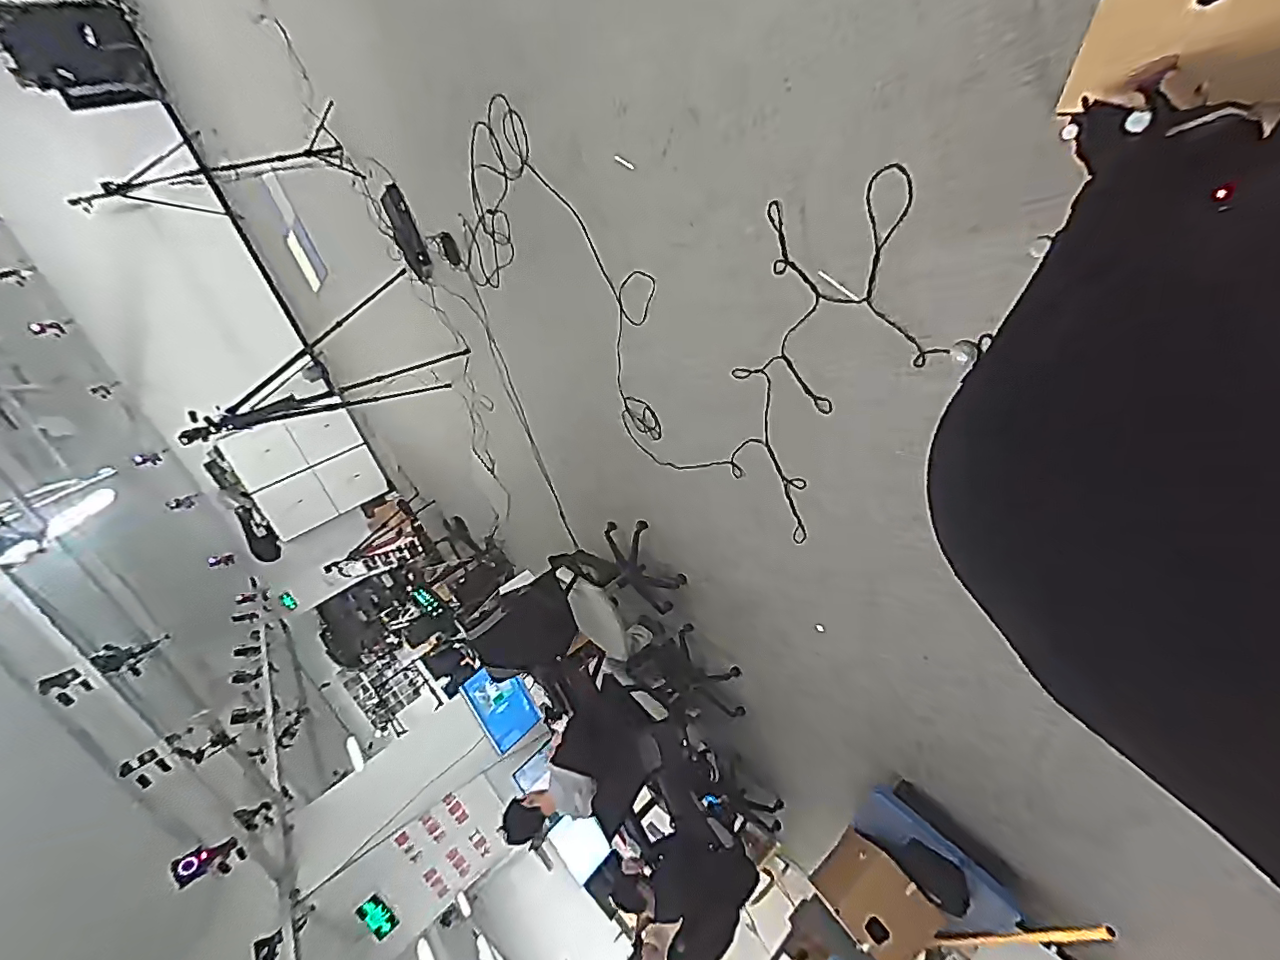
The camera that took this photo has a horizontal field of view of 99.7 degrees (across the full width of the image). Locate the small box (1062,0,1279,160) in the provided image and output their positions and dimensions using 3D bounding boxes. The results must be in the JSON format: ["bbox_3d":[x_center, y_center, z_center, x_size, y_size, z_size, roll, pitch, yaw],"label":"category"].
[{"bbox_3d":[0.551,-0.425,0.520,0.168,0.179,0.176,29,120,40],"label":"small box"}]
